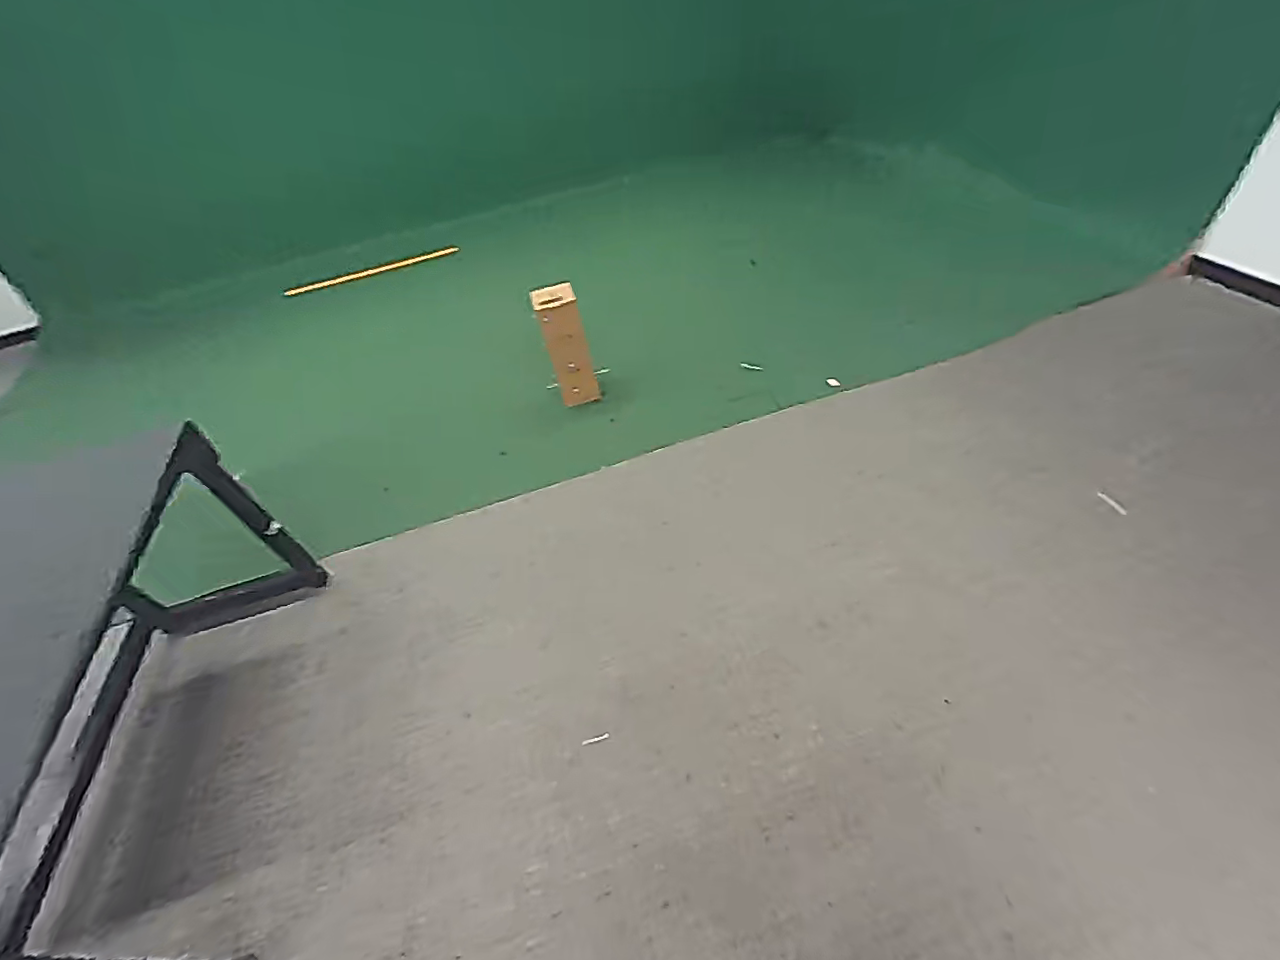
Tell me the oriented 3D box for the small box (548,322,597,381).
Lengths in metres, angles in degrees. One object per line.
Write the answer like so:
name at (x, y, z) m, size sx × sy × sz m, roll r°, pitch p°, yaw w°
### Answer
small box at (-0.297, -0.564, 2.378) m, size 0.168 × 0.176 × 0.179 m, roll -17°, pitch 45°, yaw -3°

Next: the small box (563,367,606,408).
small box at (-0.267, -0.452, 2.495) m, size 0.168 × 0.176 × 0.179 m, roll -19°, pitch 45°, yaw -5°
